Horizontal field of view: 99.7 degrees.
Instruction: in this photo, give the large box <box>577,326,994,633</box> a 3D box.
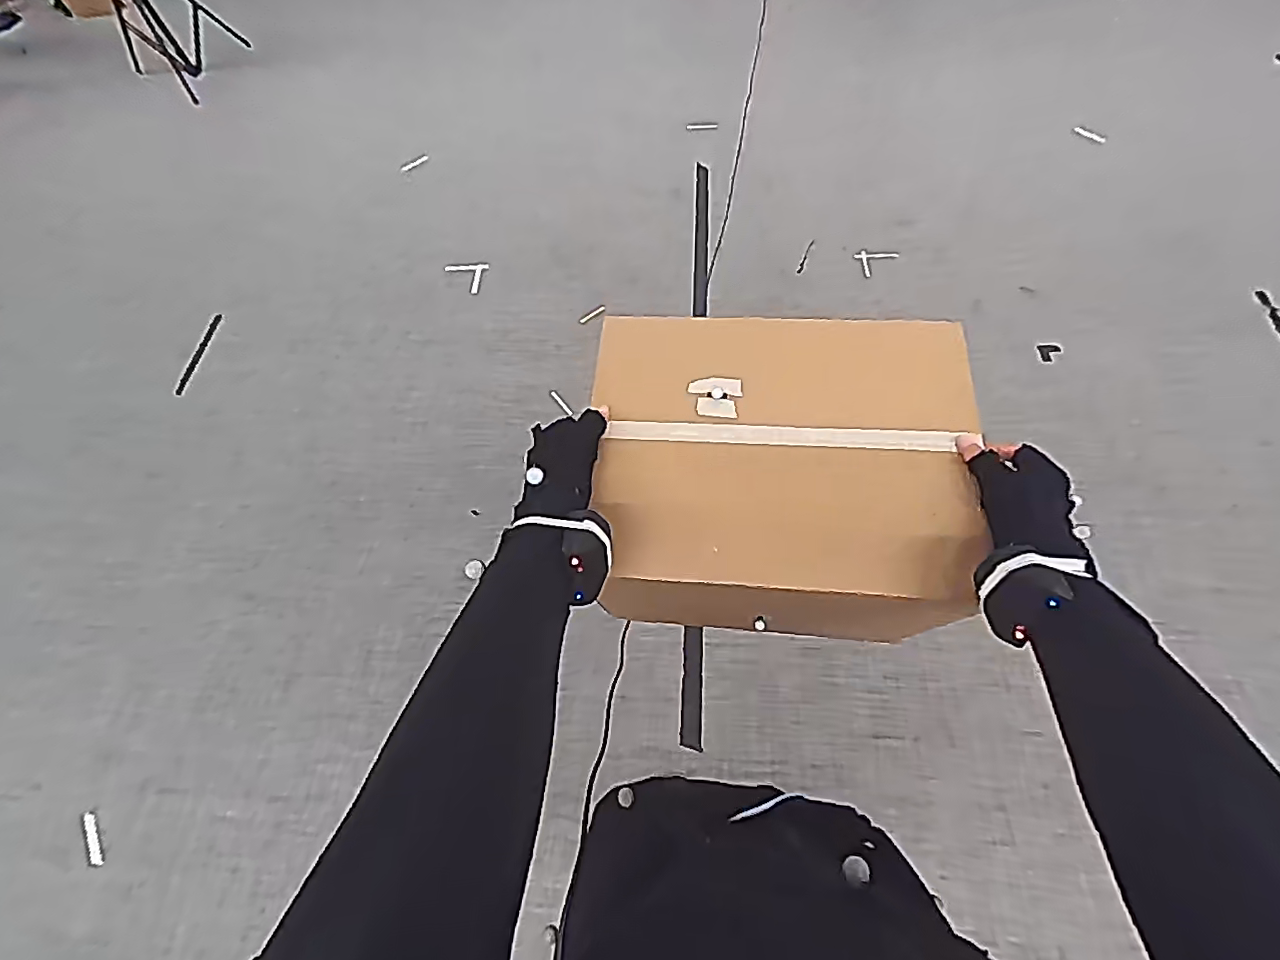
[{"bbox_3d":[0.163,0.018,0.714,0.408,0.320,0.320,3,67,8],"label":"large box"}]
